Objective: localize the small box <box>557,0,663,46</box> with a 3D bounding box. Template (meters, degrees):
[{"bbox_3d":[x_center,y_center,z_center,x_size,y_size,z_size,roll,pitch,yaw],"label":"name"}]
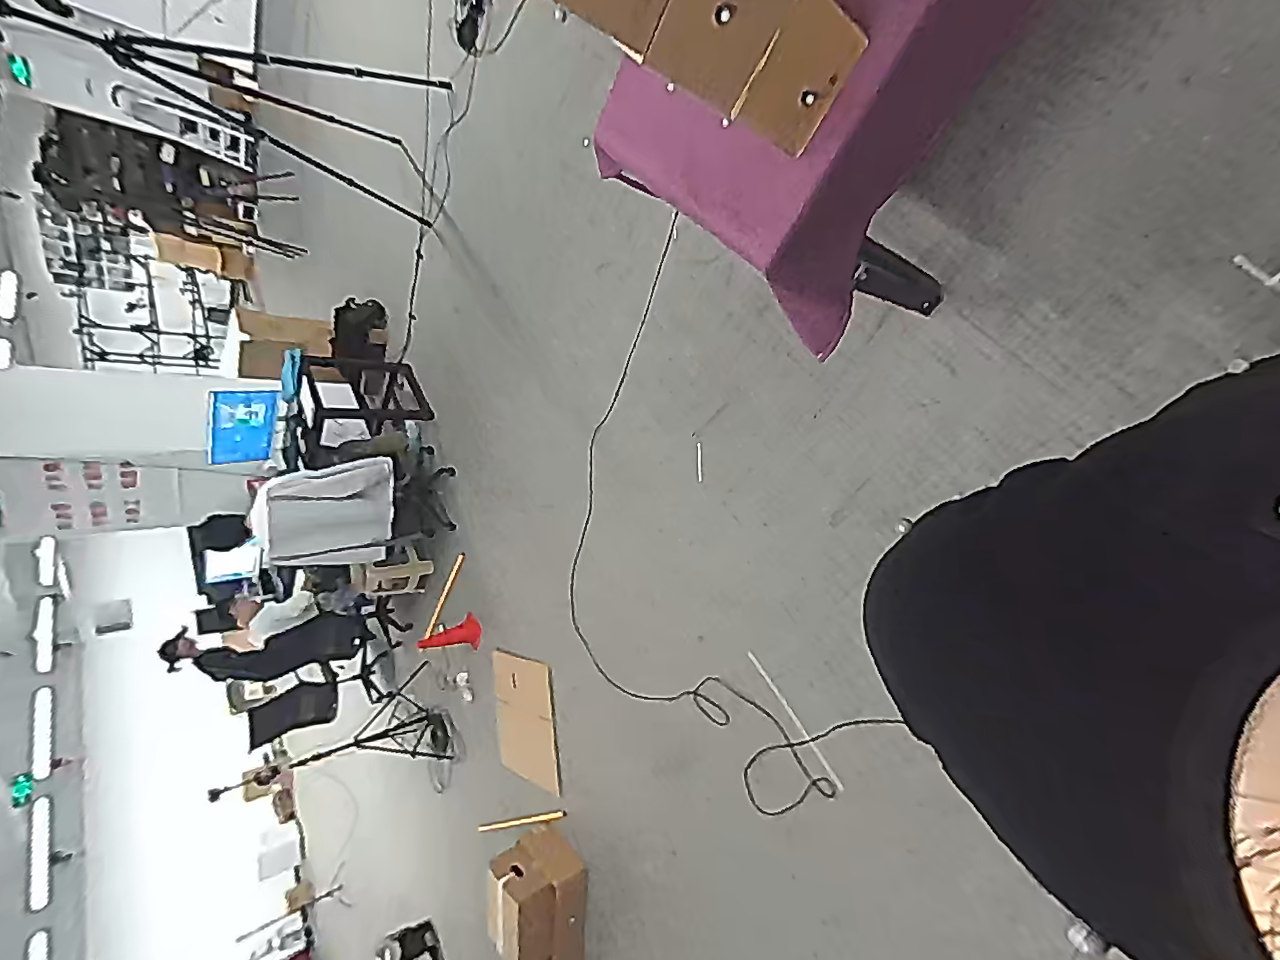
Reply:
[{"bbox_3d":[-0.056,-0.611,0.576,0.179,0.176,0.168,56,129,28],"label":"small box"}]

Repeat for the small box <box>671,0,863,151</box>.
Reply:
[{"bbox_3d":[0.185,-0.623,0.797,0.179,0.176,0.168,55,129,29],"label":"small box"}]
